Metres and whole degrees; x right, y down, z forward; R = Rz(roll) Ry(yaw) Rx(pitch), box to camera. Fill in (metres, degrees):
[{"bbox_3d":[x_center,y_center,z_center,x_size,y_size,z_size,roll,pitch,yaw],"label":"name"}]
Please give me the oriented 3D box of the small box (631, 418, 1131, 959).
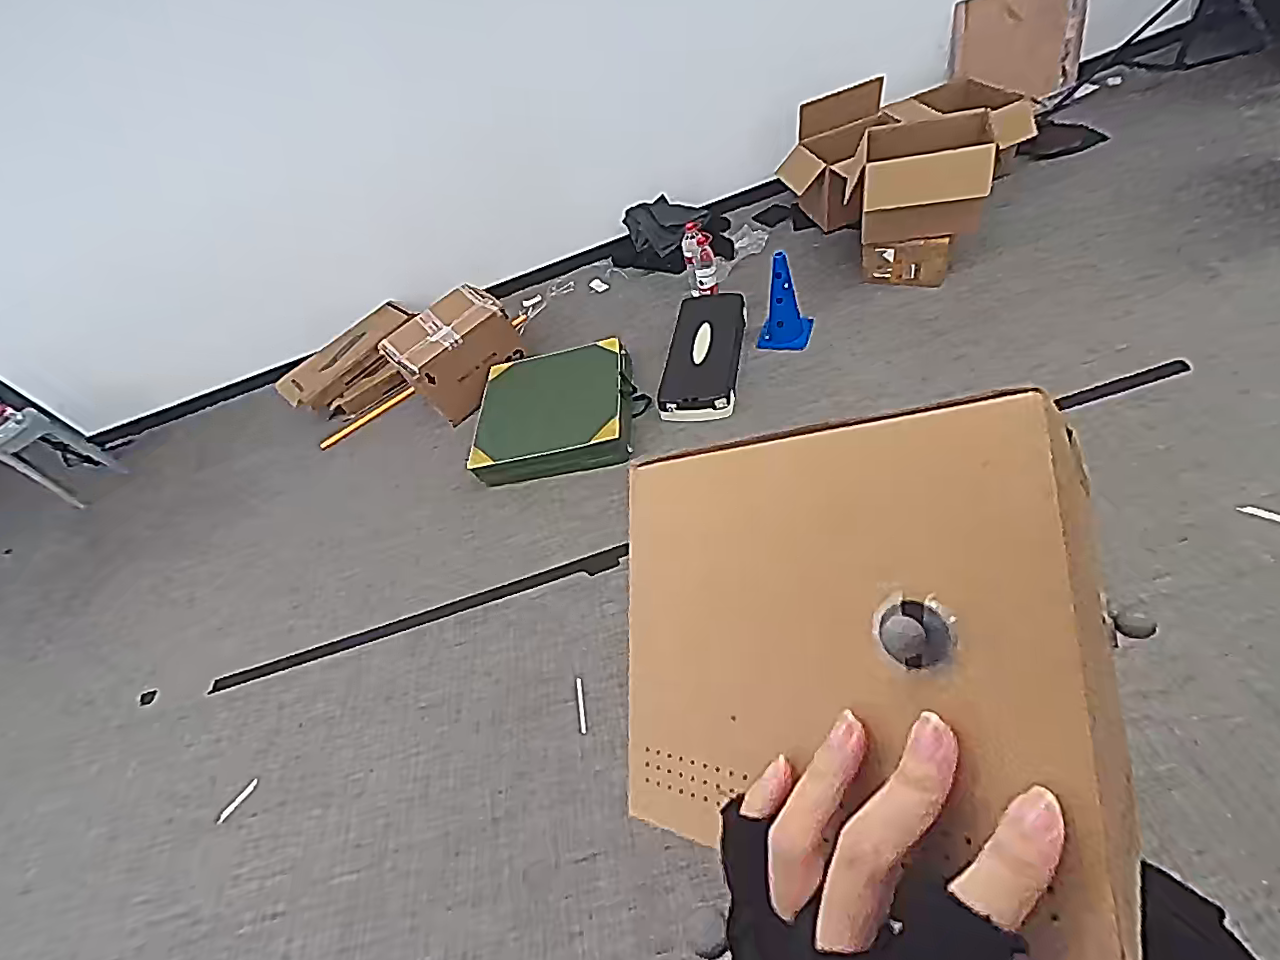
[{"bbox_3d":[0.113,0.082,0.266,0.179,0.168,0.176,-11,75,42],"label":"small box"}]
